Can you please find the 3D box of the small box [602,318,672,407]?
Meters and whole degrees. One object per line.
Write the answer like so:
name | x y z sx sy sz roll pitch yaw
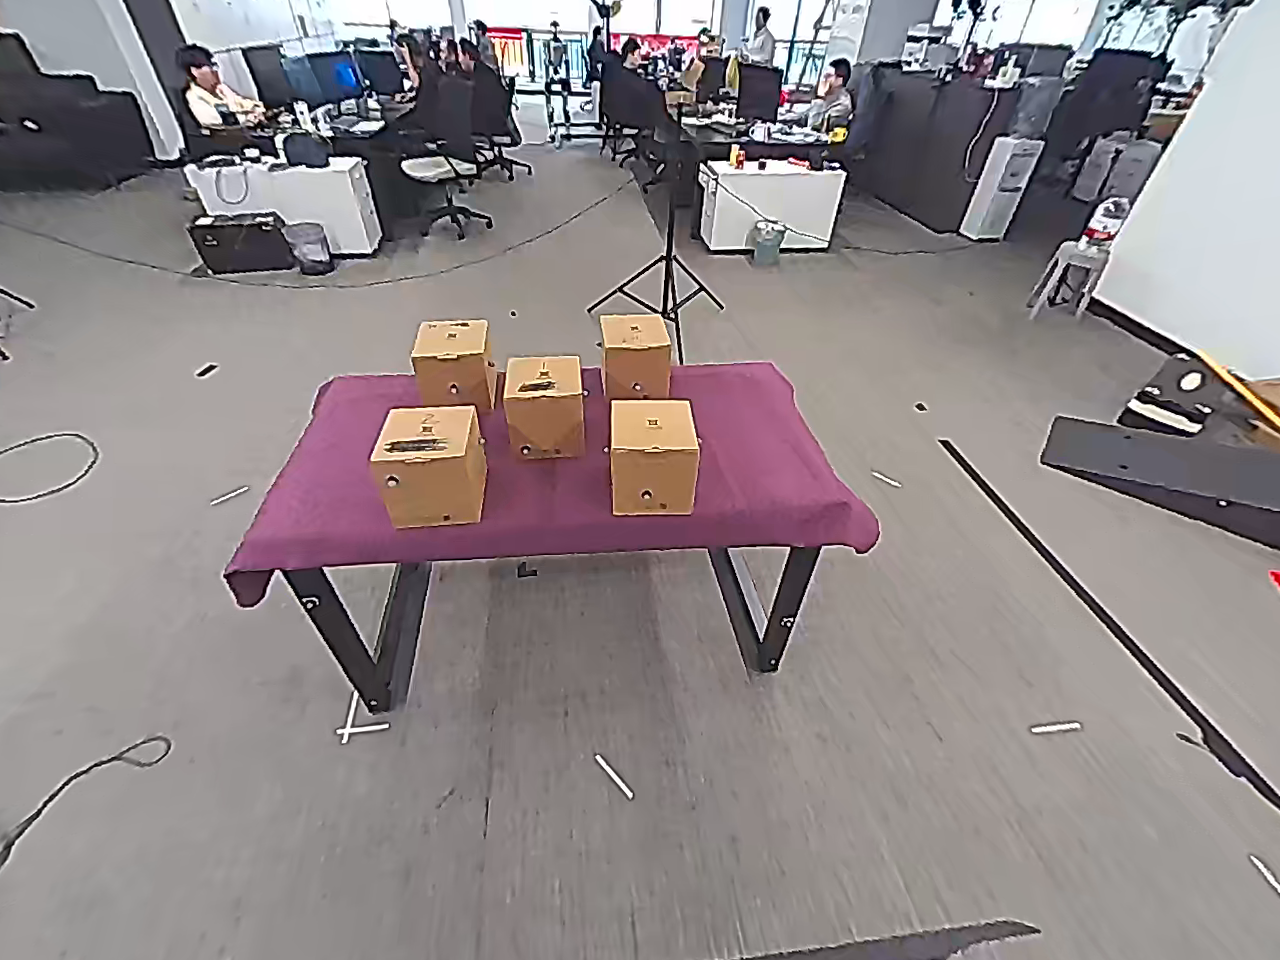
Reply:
small box | -0.014 -0.311 1.430 0.168 0.176 0.179 -4 43 -6

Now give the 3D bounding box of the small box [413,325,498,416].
small box | -0.456 -0.273 1.368 0.168 0.176 0.179 -4 43 -7

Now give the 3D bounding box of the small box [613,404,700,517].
small box | 0.026 -0.042 1.124 0.168 0.176 0.179 -1 40 -3

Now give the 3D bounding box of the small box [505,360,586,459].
small box | -0.212 -0.160 1.251 0.168 0.176 0.179 -3 41 -6
